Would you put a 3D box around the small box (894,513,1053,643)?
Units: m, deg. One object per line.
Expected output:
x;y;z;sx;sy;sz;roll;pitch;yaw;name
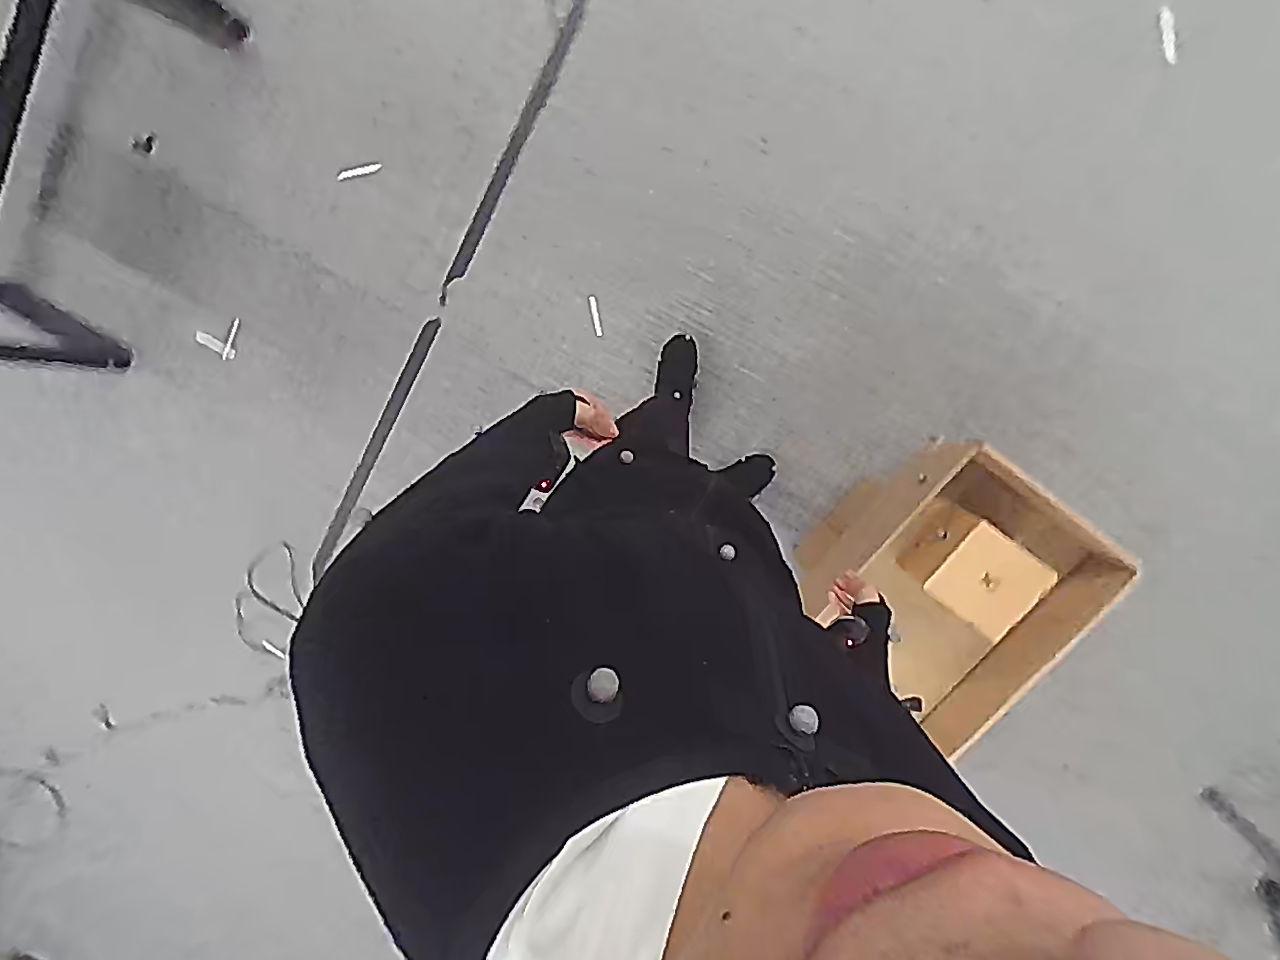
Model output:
0.649;0.183;1.080;0.179;0.176;0.168;37;100;1;small box
